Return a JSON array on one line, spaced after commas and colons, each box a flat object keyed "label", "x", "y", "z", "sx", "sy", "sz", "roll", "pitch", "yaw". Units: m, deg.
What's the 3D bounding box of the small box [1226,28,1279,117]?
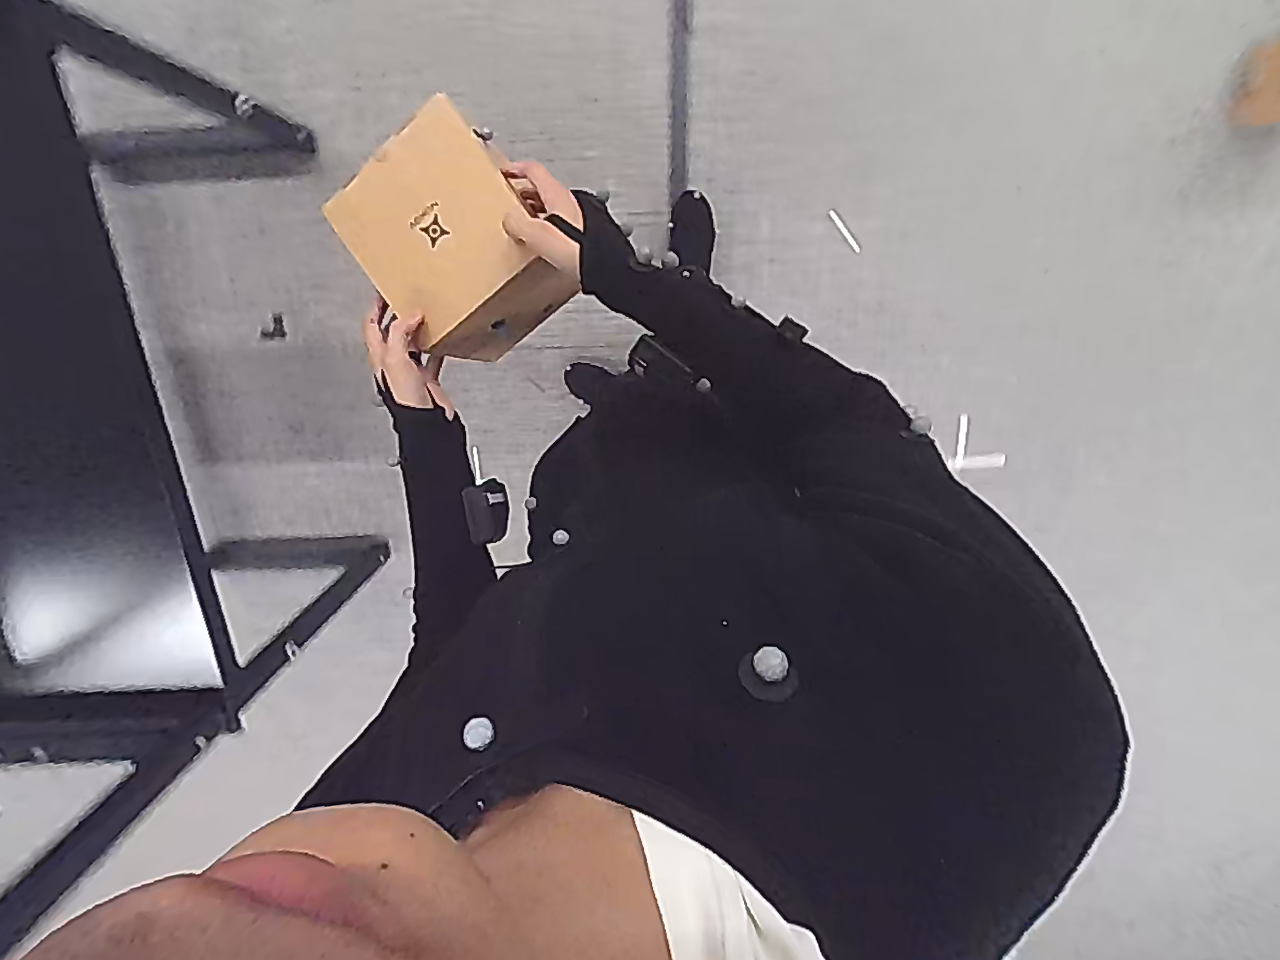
[{"label": "small box", "x": 1.565, "y": -0.974, "z": 1.267, "sx": 0.179, "sy": 0.176, "sz": 0.168, "roll": 0, "pitch": 106, "yaw": -1}]
